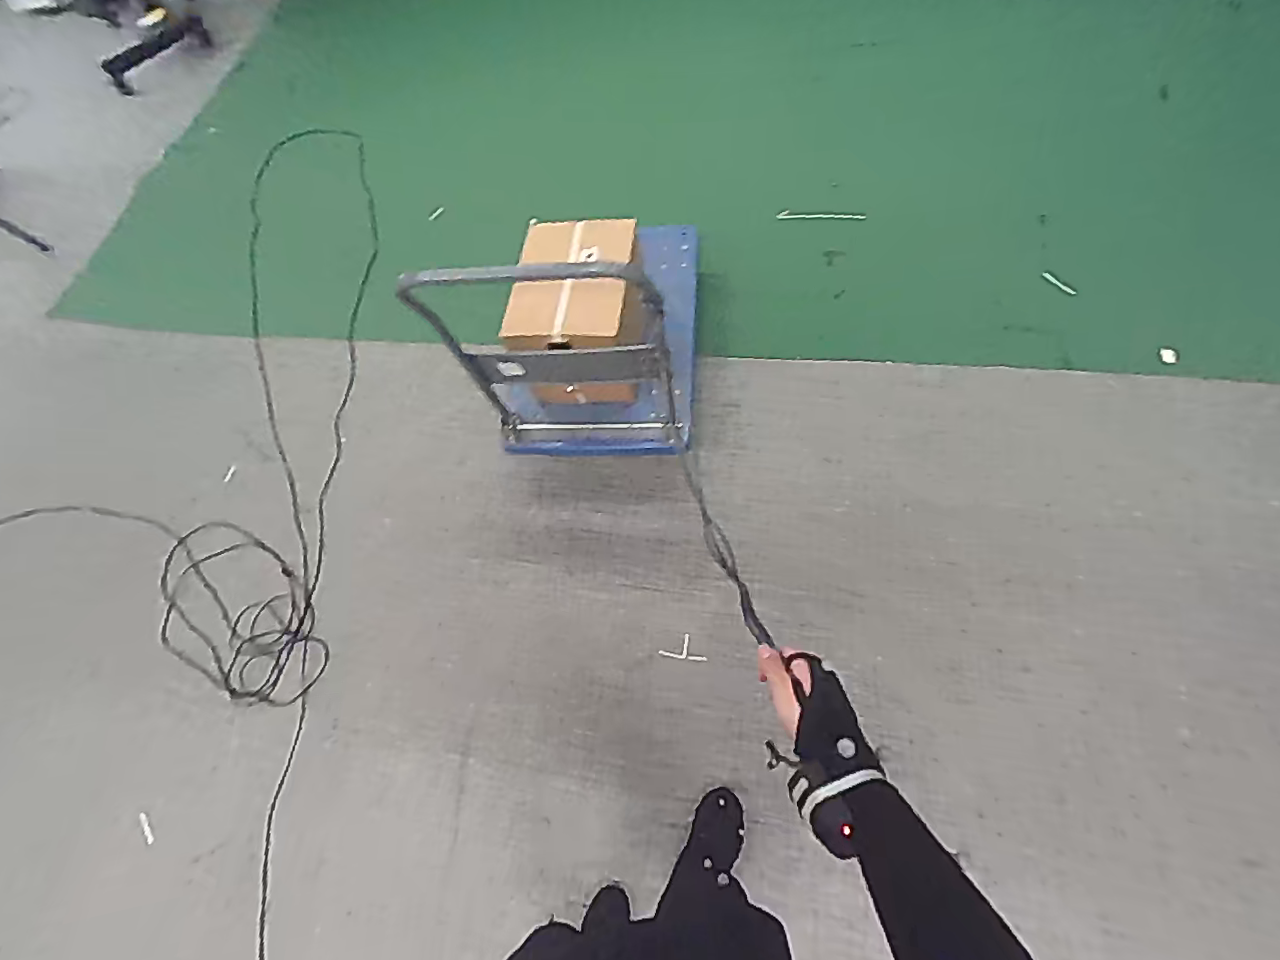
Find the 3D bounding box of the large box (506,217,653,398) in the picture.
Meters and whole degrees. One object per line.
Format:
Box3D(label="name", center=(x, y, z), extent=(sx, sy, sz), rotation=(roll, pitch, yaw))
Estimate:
Box3D(label="large box", center=(-0.151, -0.487, 1.567), extent=(0.320, 0.320, 0.408), rotation=(3, 66, 10))
